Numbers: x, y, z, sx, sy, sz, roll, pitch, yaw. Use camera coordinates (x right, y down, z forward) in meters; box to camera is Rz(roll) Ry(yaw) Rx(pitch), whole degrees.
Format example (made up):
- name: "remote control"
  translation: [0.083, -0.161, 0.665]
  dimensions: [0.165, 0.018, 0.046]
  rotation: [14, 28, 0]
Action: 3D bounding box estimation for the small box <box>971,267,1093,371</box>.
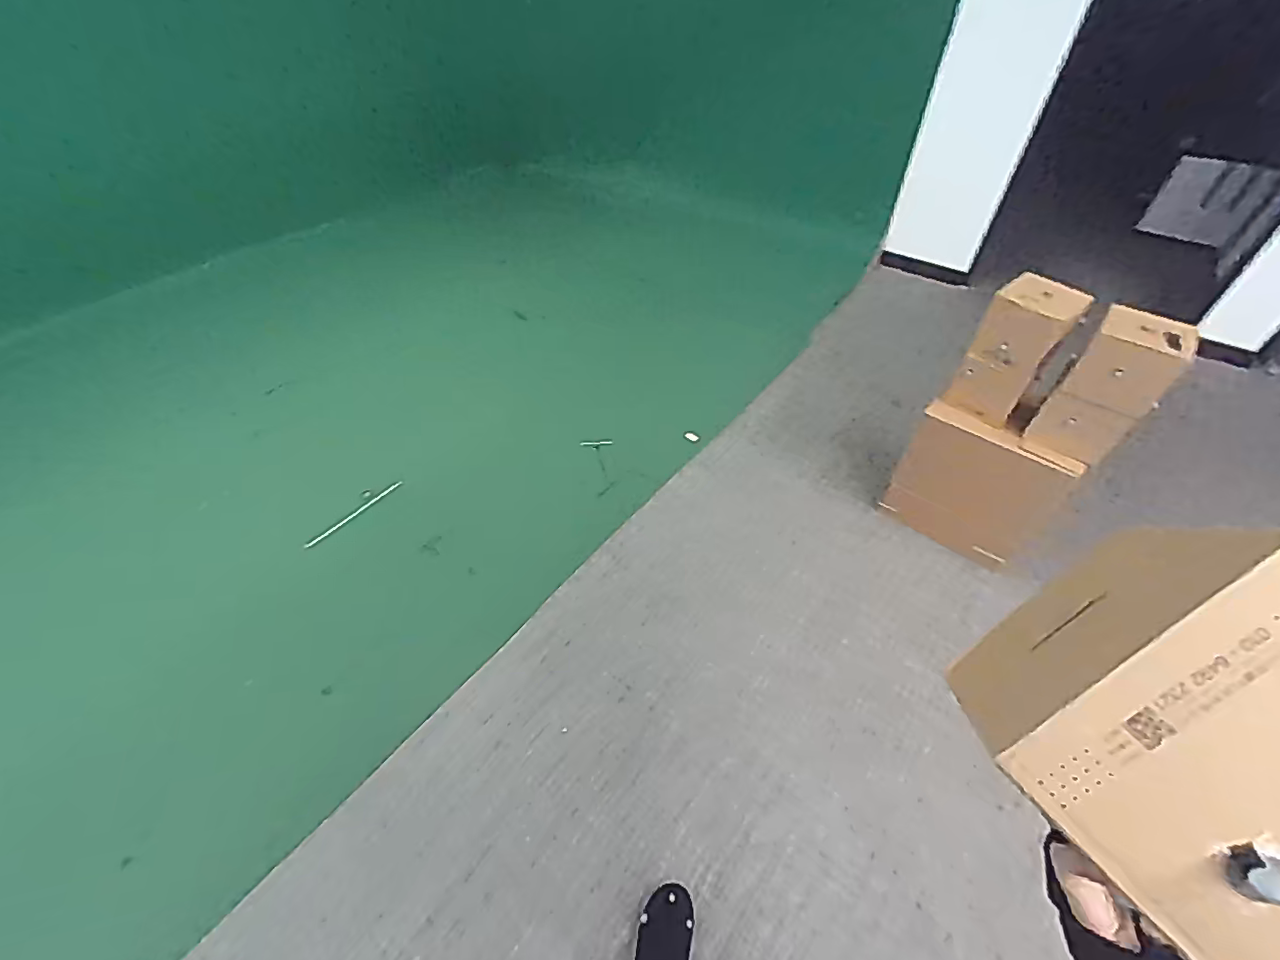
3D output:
- name: "small box"
  translation: [0.995, -0.412, 1.387]
  dimensions: [0.179, 0.176, 0.168]
  rotation: [-33, 56, -24]
